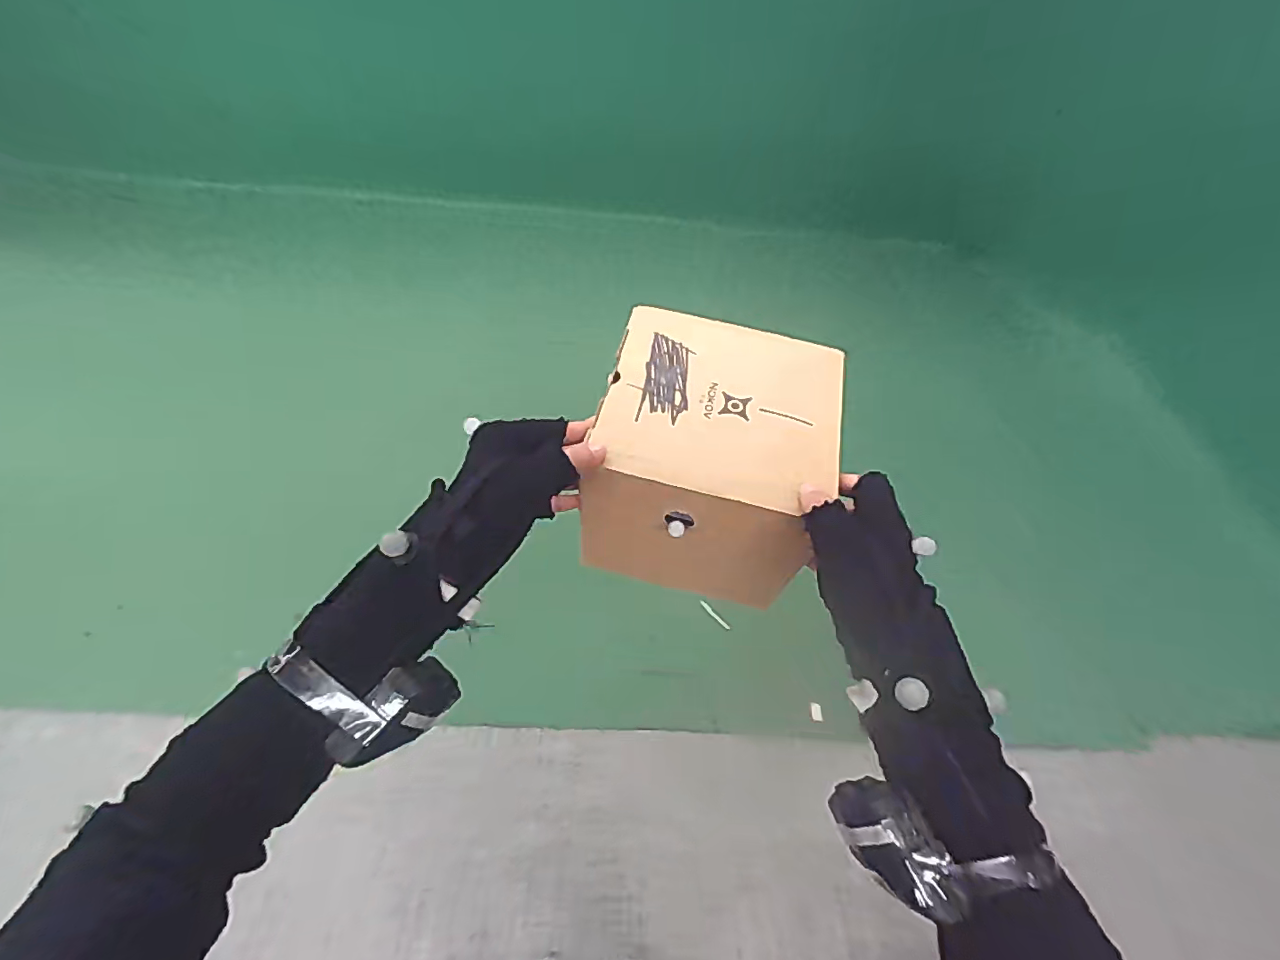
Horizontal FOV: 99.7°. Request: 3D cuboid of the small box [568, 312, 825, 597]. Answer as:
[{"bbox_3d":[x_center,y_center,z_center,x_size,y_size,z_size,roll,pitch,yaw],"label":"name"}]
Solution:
[{"bbox_3d":[0.045,-0.014,0.473,0.179,0.176,0.168,13,57,3],"label":"small box"}]
